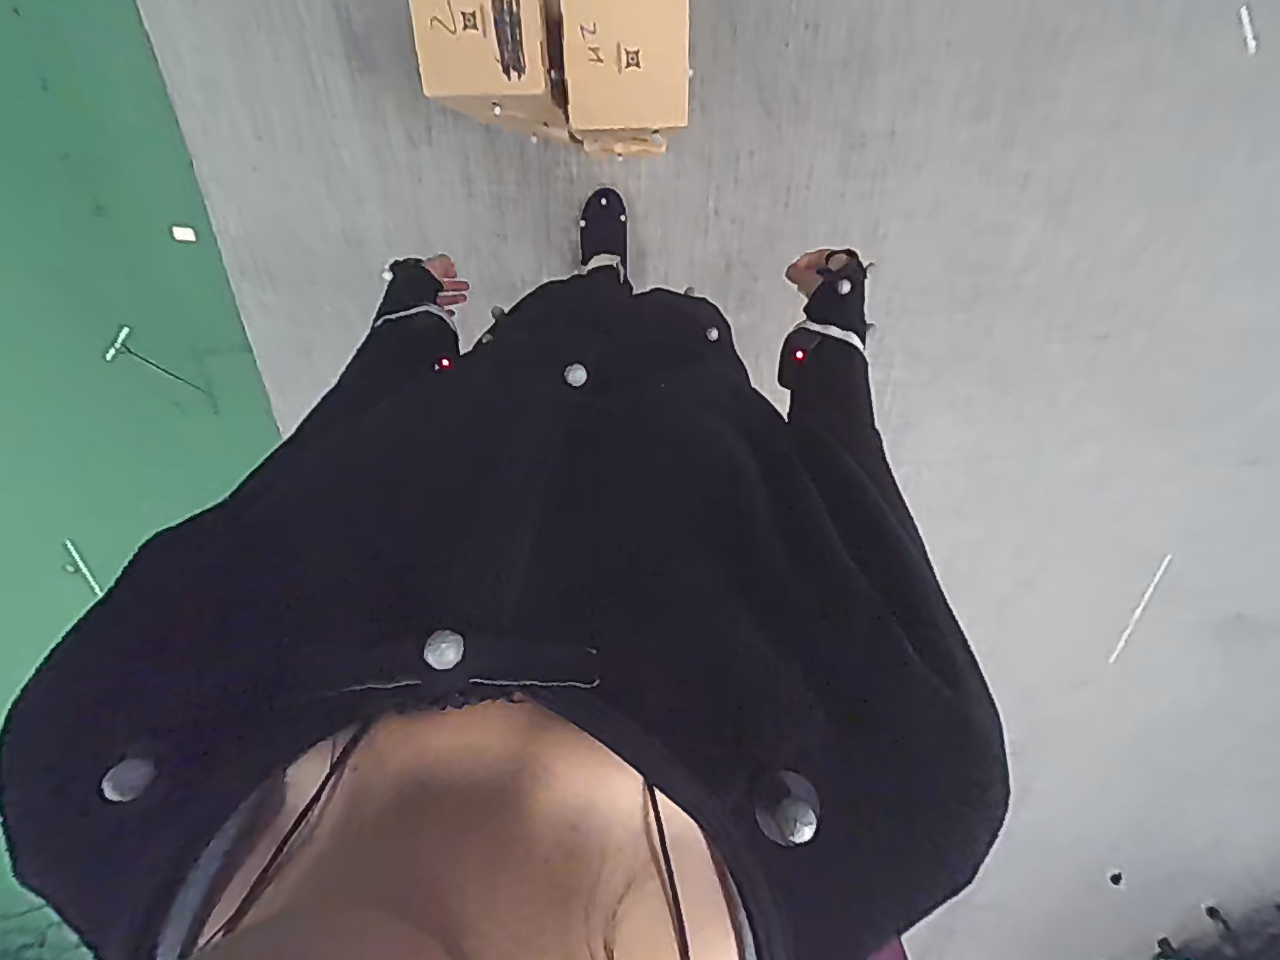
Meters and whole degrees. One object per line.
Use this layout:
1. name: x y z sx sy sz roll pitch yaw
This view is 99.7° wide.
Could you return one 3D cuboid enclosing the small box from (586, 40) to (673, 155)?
1. small box: -0.023 -0.773 1.108 0.168 0.176 0.179 0 119 0
